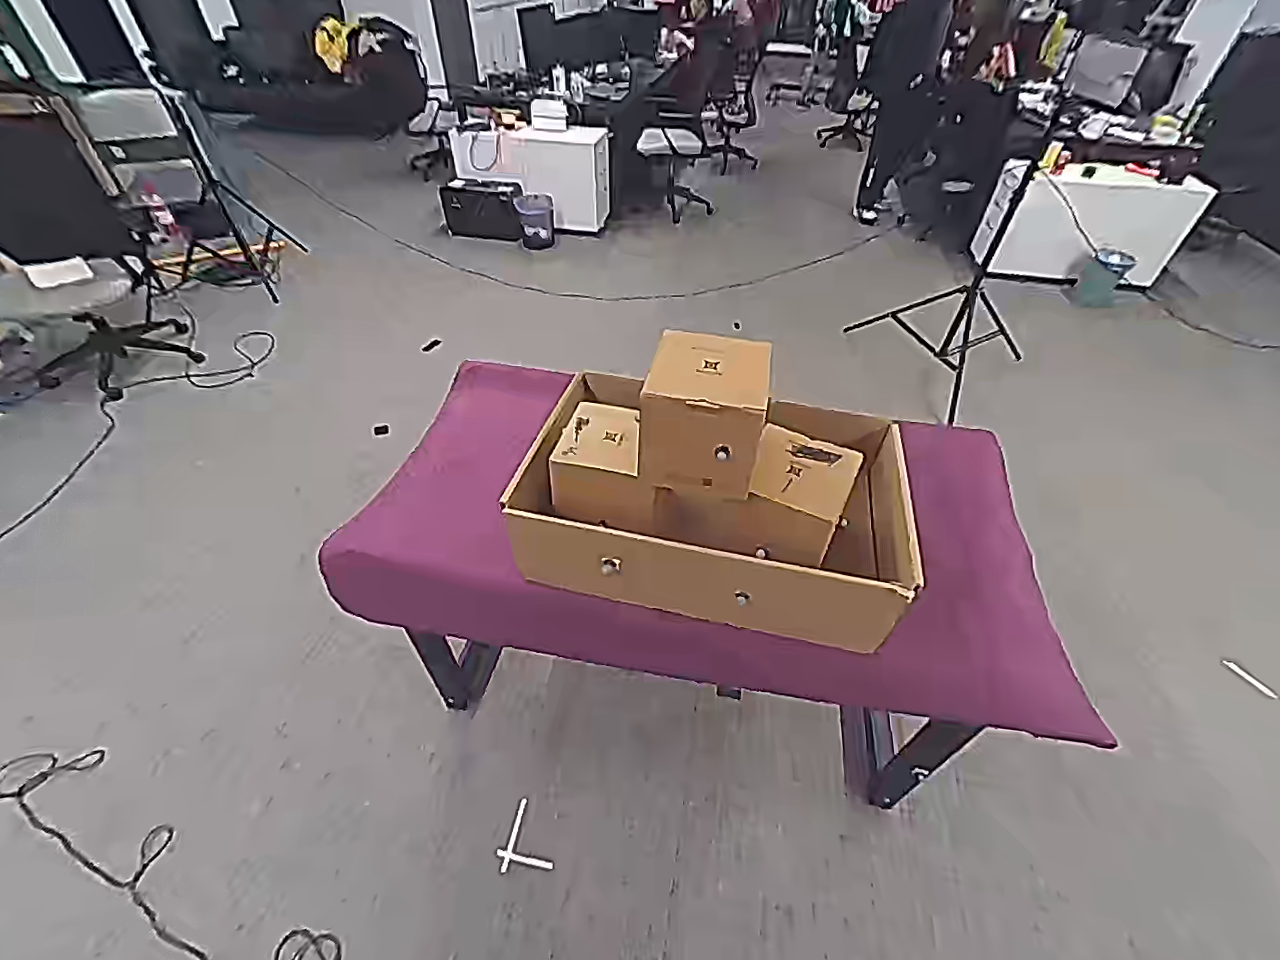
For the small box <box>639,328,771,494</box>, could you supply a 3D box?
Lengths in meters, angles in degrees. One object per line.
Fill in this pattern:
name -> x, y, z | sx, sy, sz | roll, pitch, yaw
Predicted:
small box -> 0.095, -0.101, 0.804 | 0.168, 0.176, 0.179 | 10, 44, 7
